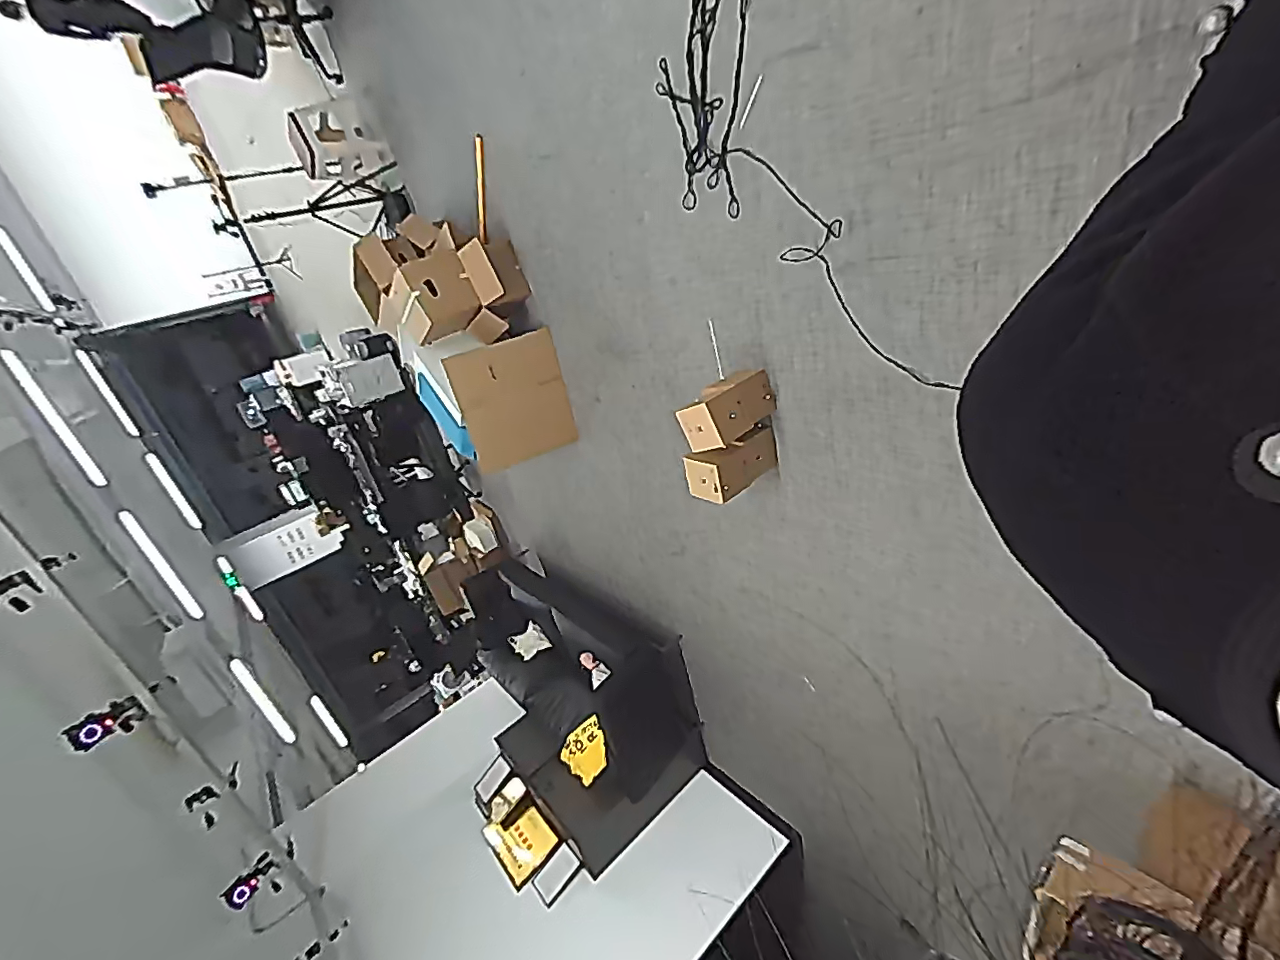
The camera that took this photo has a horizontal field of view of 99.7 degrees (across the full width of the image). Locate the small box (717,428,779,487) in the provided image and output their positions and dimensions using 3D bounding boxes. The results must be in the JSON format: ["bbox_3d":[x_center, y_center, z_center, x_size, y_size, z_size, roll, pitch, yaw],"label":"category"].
[{"bbox_3d":[0.425,-0.097,2.119,0.168,0.176,0.179,18,131,50],"label":"small box"}]

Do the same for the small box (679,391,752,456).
[{"bbox_3d":[0.276,-0.203,1.926,0.179,0.176,0.168,-9,109,59],"label":"small box"}]
